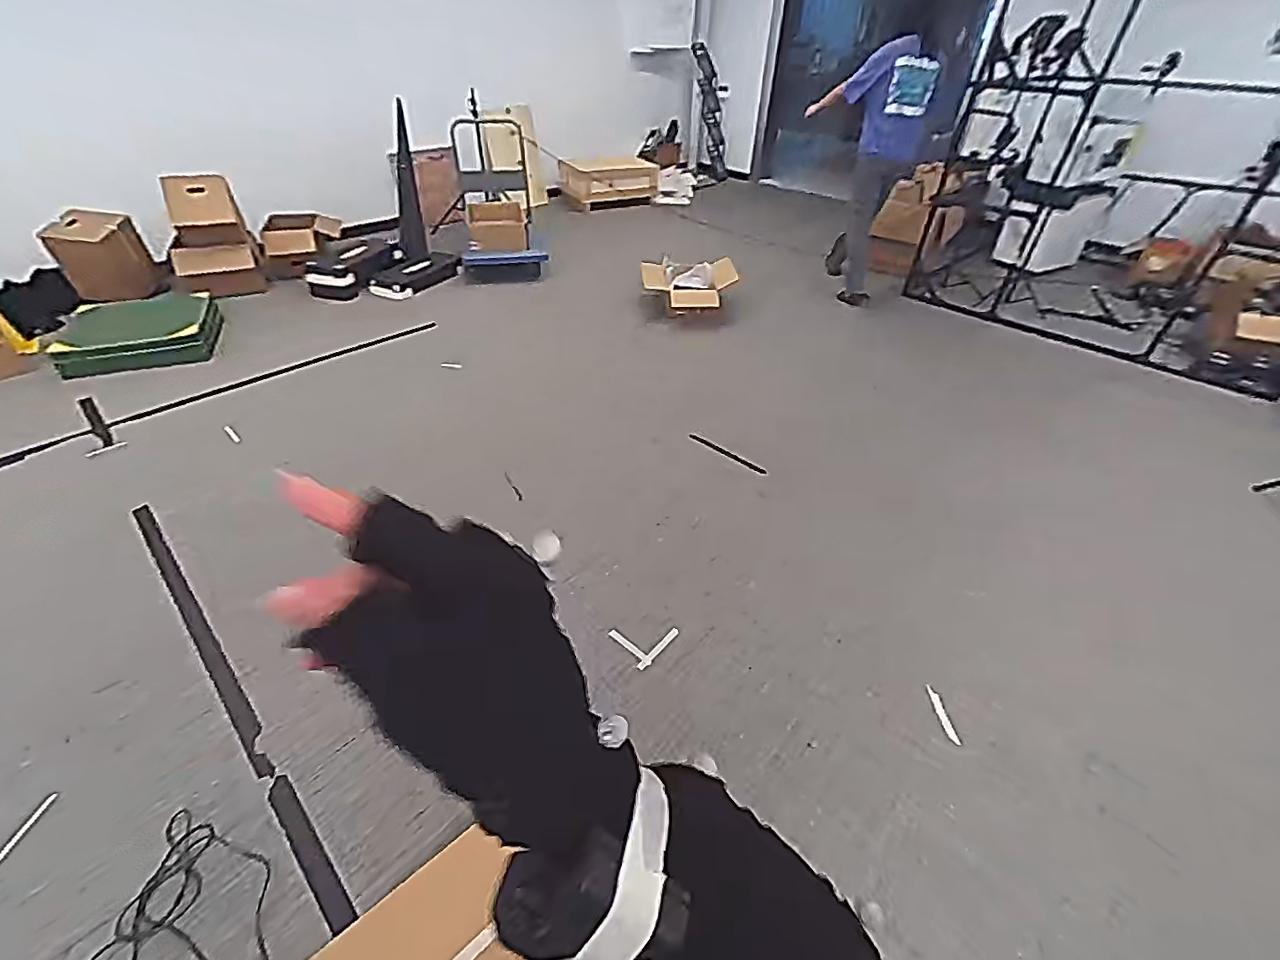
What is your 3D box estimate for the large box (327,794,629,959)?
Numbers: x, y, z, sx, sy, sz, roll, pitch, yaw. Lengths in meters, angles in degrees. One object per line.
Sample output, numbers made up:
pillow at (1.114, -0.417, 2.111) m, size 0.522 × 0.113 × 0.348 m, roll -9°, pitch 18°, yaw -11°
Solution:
large box at (-0.265, 0.858, 0.926) m, size 0.408 × 0.320 × 0.320 m, roll -29°, pitch 48°, yaw -32°
